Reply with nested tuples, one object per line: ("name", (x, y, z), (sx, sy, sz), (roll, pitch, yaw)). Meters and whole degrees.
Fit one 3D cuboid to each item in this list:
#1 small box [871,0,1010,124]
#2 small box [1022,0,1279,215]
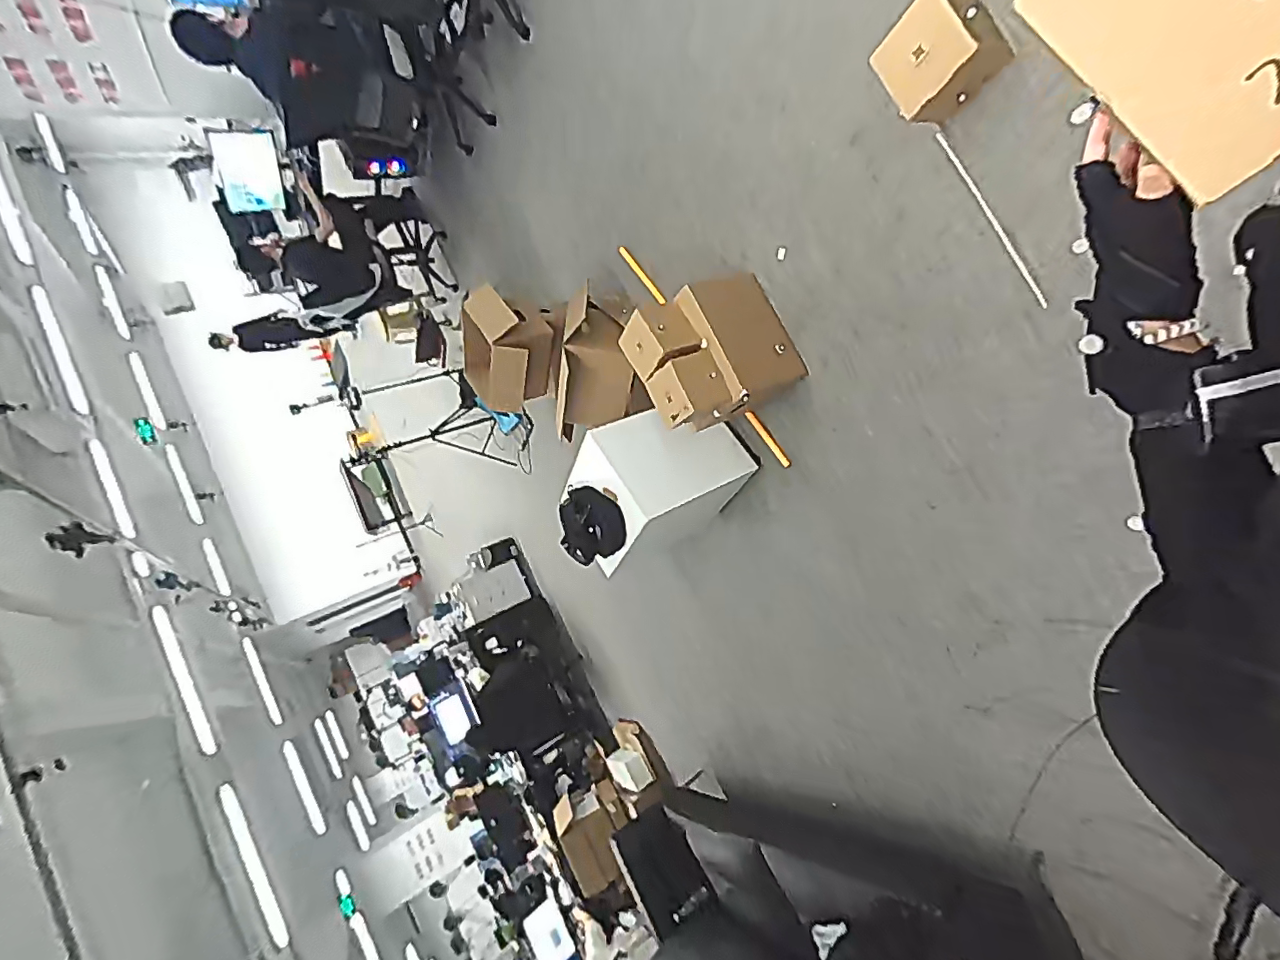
("small box", (0.648, -0.904, 1.167), (0.179, 0.176, 0.168), (62, 148, 7))
("small box", (0.378, -0.286, 0.323), (0.179, 0.176, 0.168), (55, 139, 7))
